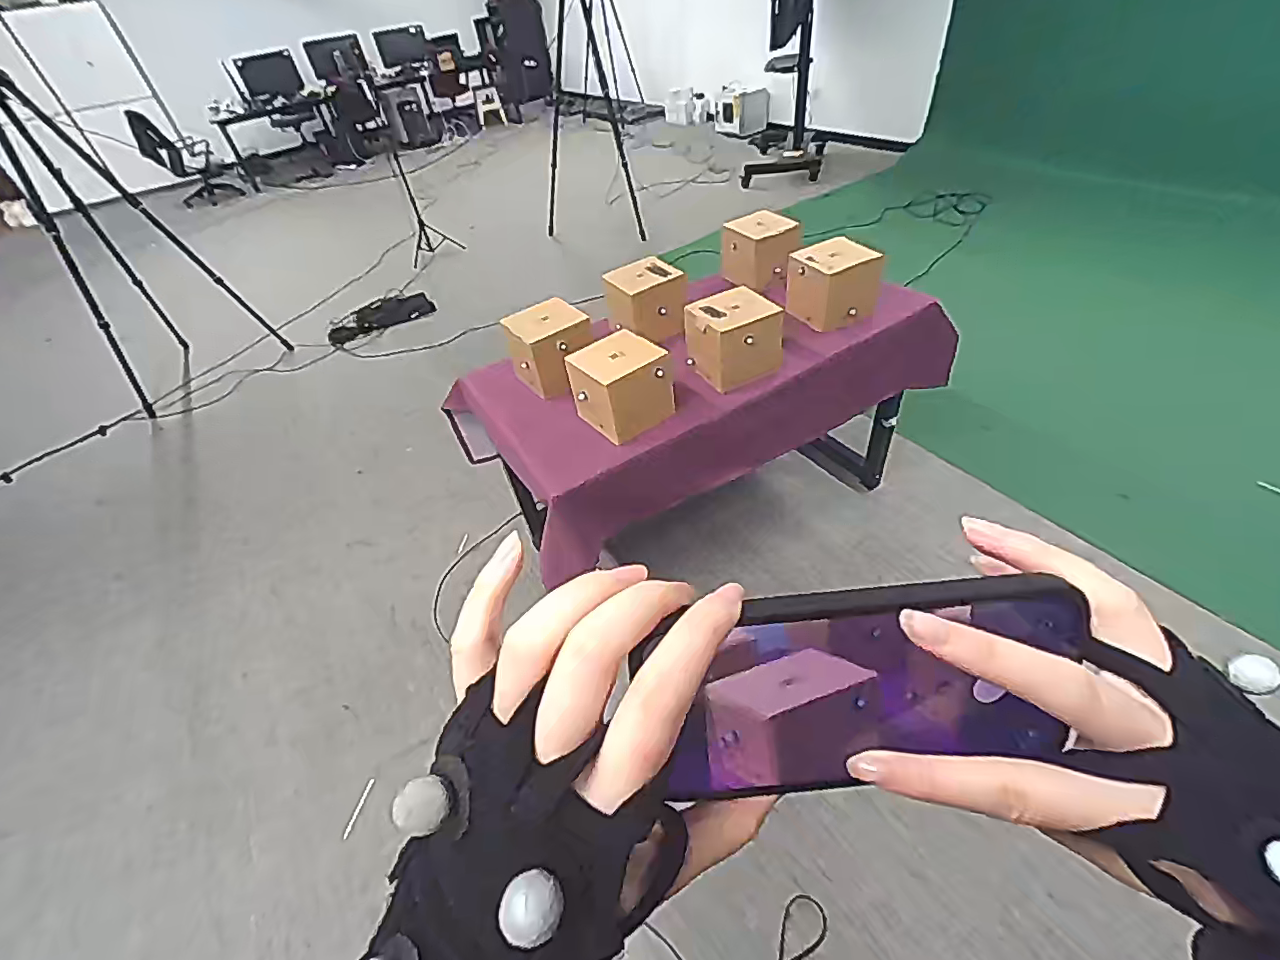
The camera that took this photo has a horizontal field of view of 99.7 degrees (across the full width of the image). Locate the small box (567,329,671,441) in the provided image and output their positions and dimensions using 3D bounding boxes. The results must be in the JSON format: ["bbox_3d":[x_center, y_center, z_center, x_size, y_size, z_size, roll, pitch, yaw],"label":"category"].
[{"bbox_3d":[-0.041,-0.217,1.246,0.179,0.176,0.168,-32,48,-23],"label":"small box"}]

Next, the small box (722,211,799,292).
[{"bbox_3d":[0.368,-0.710,1.682,0.168,0.176,0.179,-26,47,-16],"label":"small box"}]

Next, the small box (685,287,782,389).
[{"bbox_3d":[0.229,-0.348,1.335,0.179,0.176,0.168,-23,46,-15],"label":"small box"}]

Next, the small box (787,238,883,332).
[{"bbox_3d":[0.521,-0.531,1.474,0.179,0.176,0.168,-22,45,-14],"label":"small box"}]
